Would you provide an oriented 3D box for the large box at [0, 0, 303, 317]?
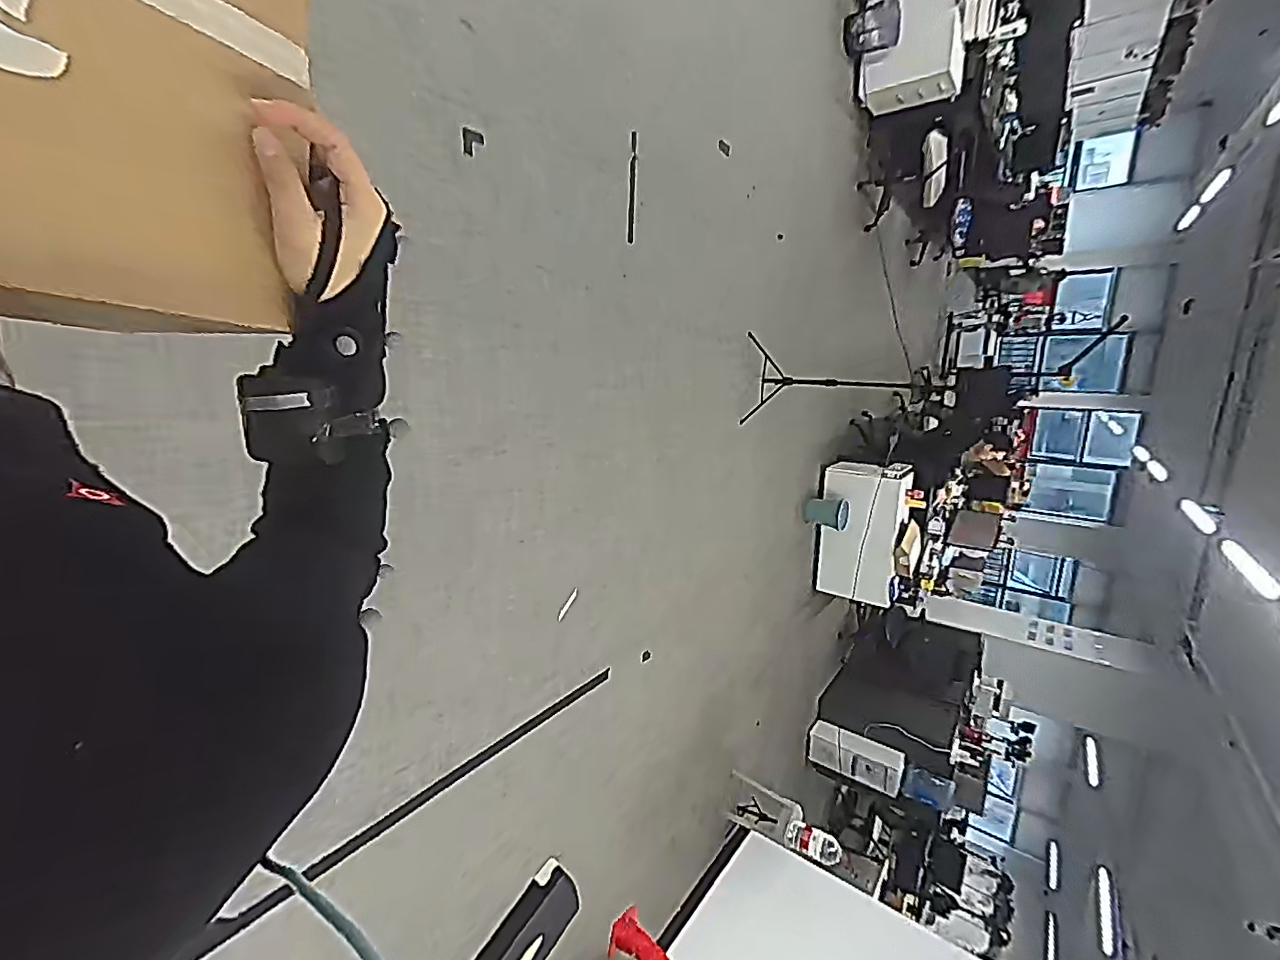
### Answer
[{"bbox_3d":[-0.444,-0.268,0.246,0.408,0.320,0.320,-6,105,-59],"label":"large box"}]
